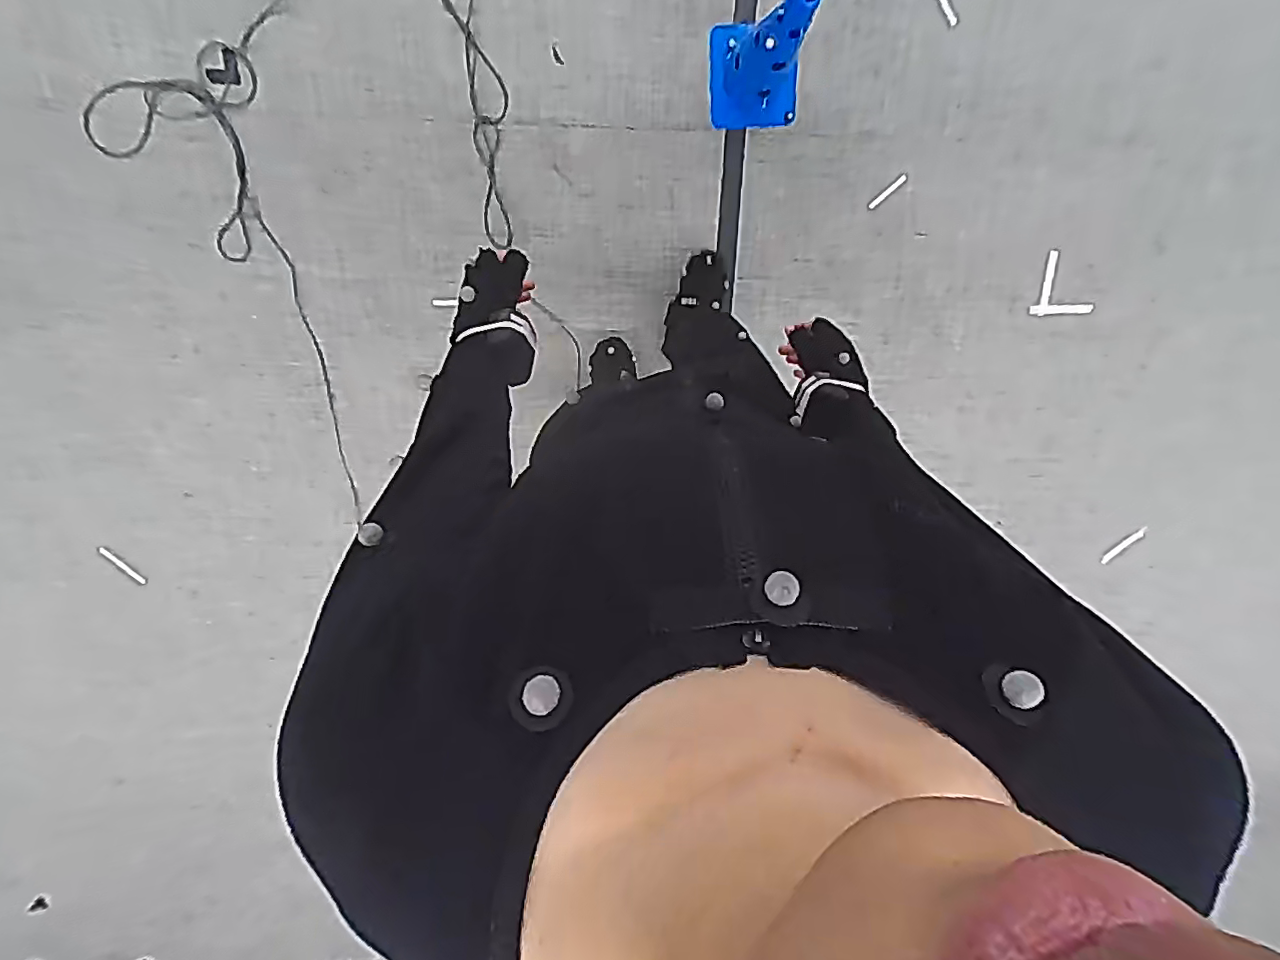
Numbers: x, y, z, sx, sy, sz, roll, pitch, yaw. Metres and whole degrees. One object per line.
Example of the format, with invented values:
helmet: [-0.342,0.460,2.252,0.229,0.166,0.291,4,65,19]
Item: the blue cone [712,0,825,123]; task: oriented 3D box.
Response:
blue cone: [0.272,-0.871,1.071,0.192,0.380,0.193,-3,108,-4]
